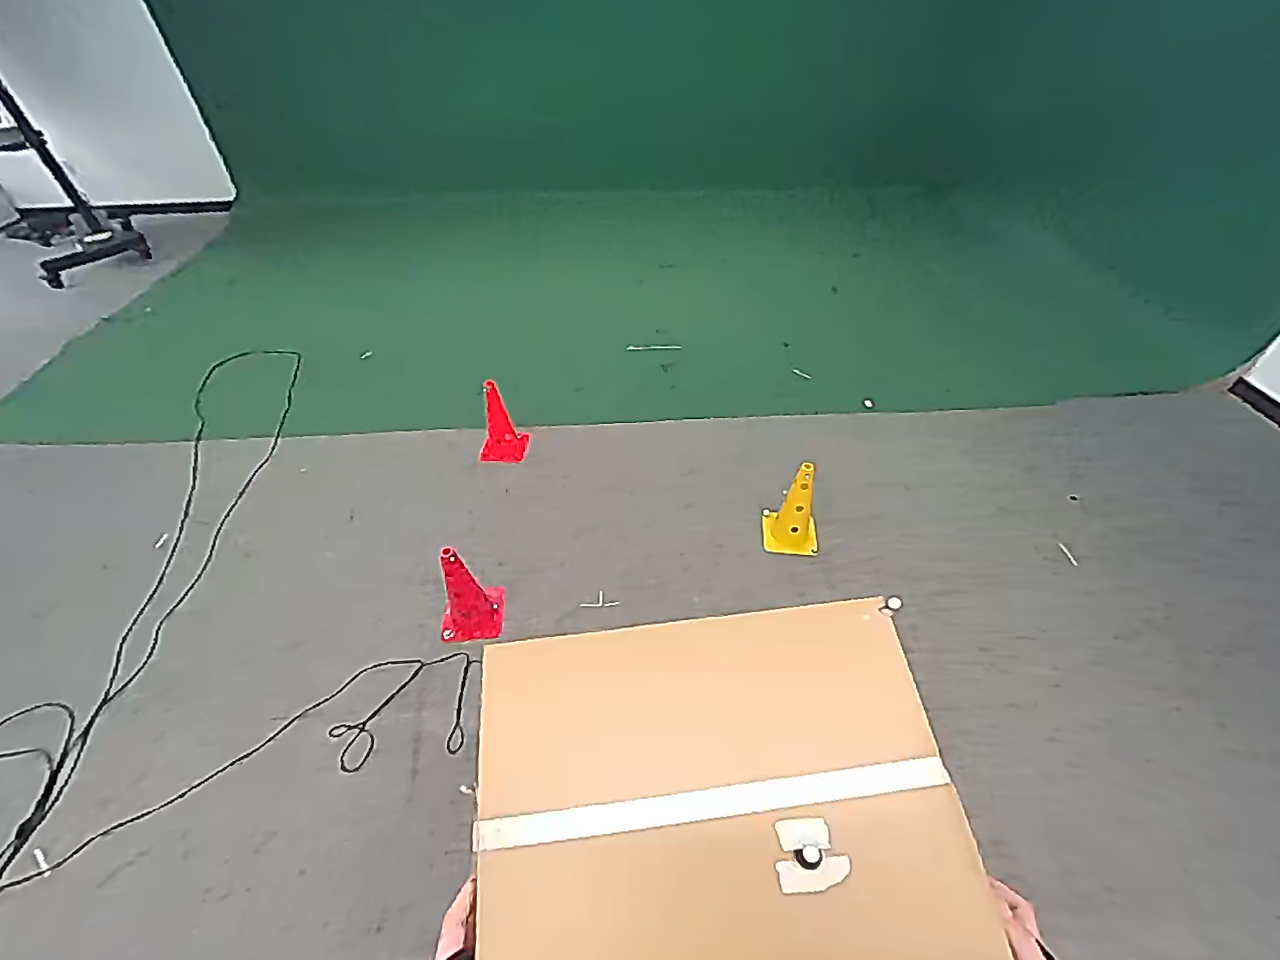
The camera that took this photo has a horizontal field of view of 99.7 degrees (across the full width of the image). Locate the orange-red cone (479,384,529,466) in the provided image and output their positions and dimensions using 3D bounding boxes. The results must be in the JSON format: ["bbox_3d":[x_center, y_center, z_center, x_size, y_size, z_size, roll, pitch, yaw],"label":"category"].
[{"bbox_3d":[-0.624,-0.256,2.347,0.199,0.360,0.198,2,44,5],"label":"orange-red cone"}]

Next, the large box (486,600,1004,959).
[{"bbox_3d":[0.065,0.355,0.599,0.408,0.320,0.320,-7,60,-3],"label":"large box"}]
